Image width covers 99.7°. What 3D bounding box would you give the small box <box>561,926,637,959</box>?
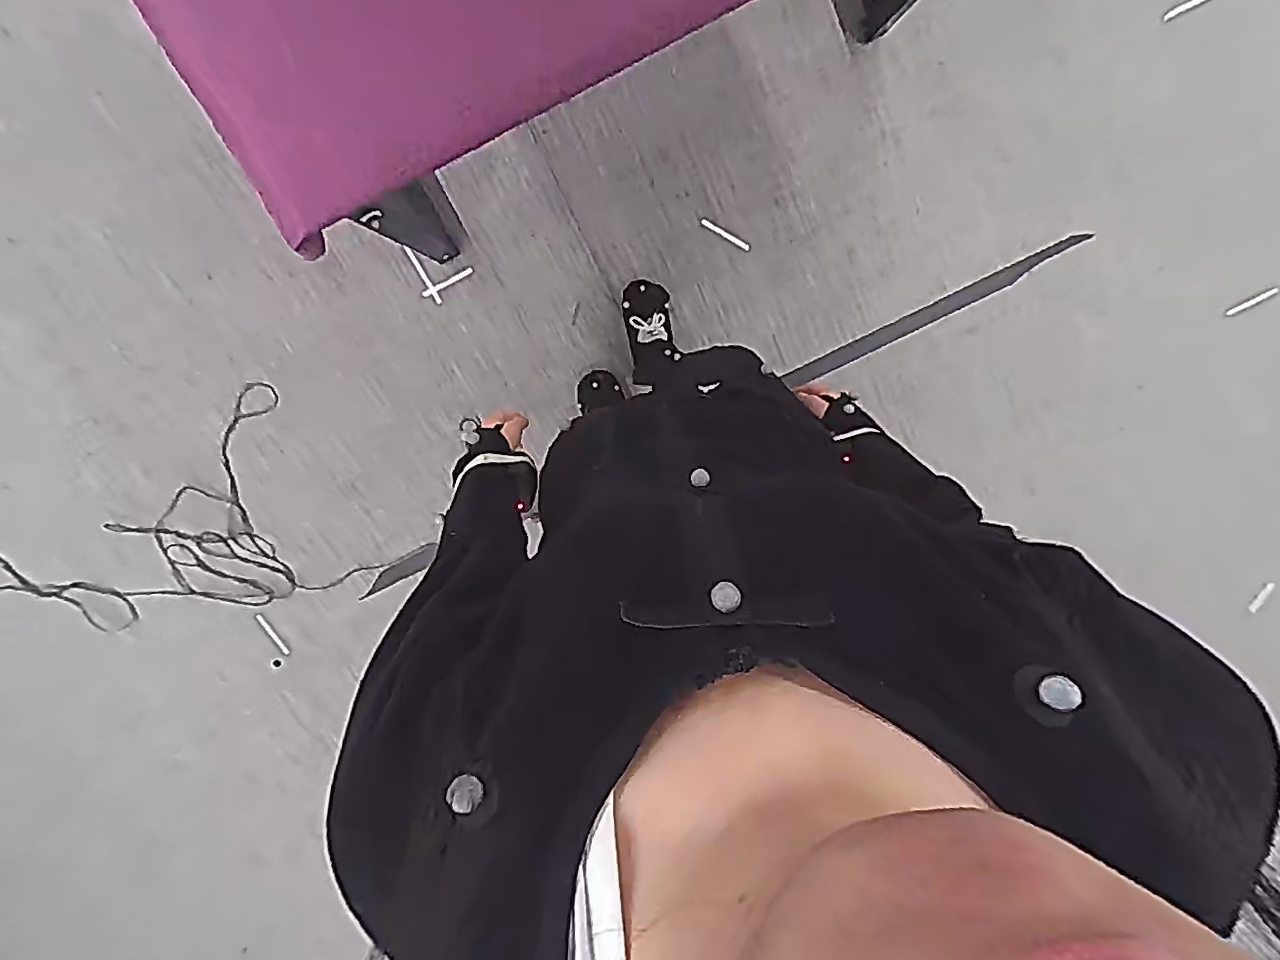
[{"bbox_3d":[-0.111,1.348,1.448,0.179,0.176,0.168,22,100,-10],"label":"small box"}]
